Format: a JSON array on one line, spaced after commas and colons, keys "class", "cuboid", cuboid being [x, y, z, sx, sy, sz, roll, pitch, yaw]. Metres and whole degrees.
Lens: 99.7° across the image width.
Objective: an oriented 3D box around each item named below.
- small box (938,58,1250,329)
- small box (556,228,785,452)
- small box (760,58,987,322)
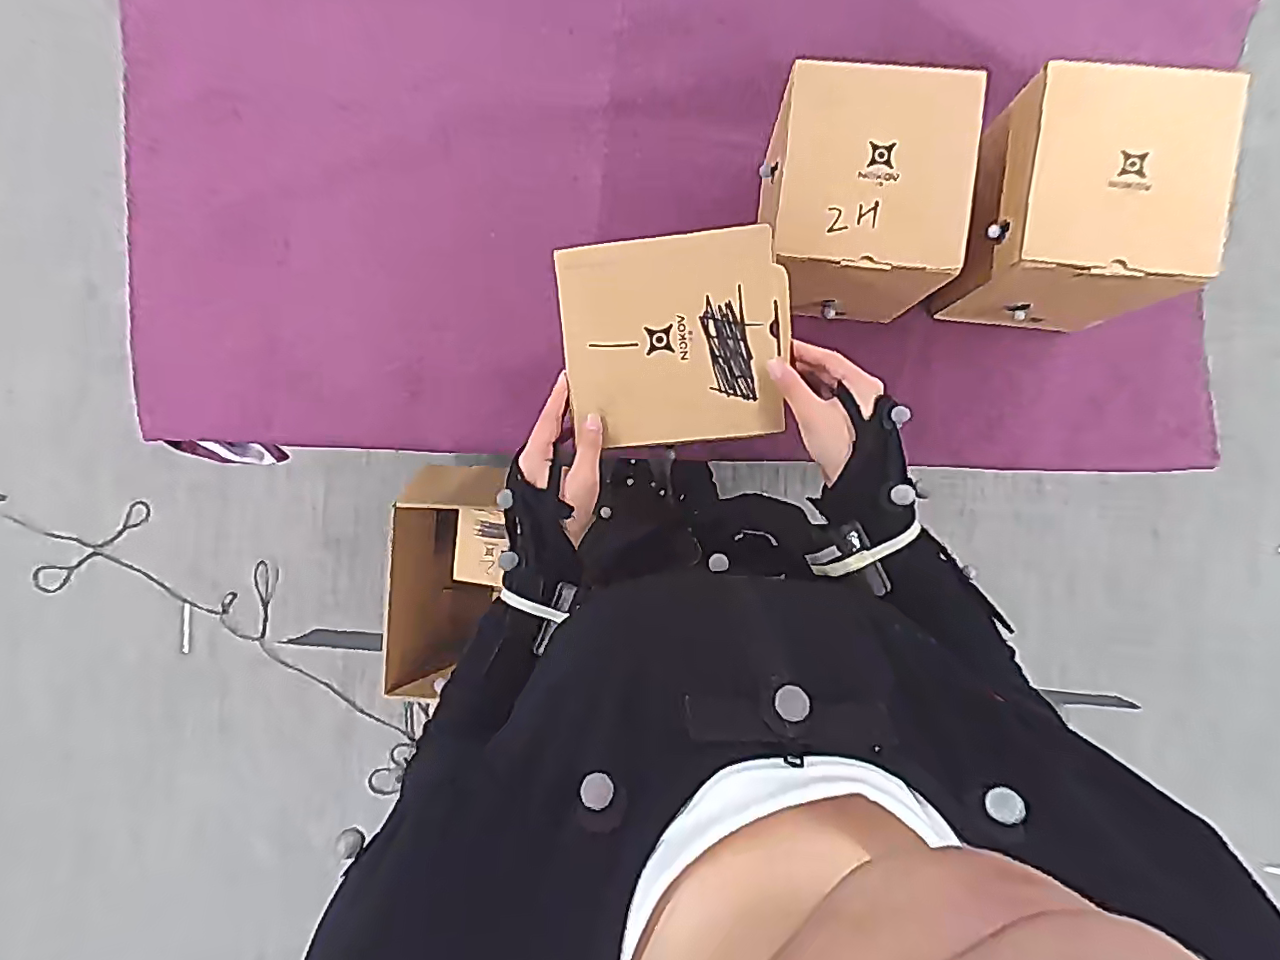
[{"class": "small box", "cuboid": [0.424, -0.265, 0.537, 0.168, 0.176, 0.179, 6, 92, 4]}, {"class": "small box", "cuboid": [0.029, -0.116, 0.513, 0.179, 0.176, 0.168, -5, 93, 5]}, {"class": "small box", "cuboid": [0.214, -0.277, 0.551, 0.168, 0.176, 0.179, 6, 92, 4]}]
